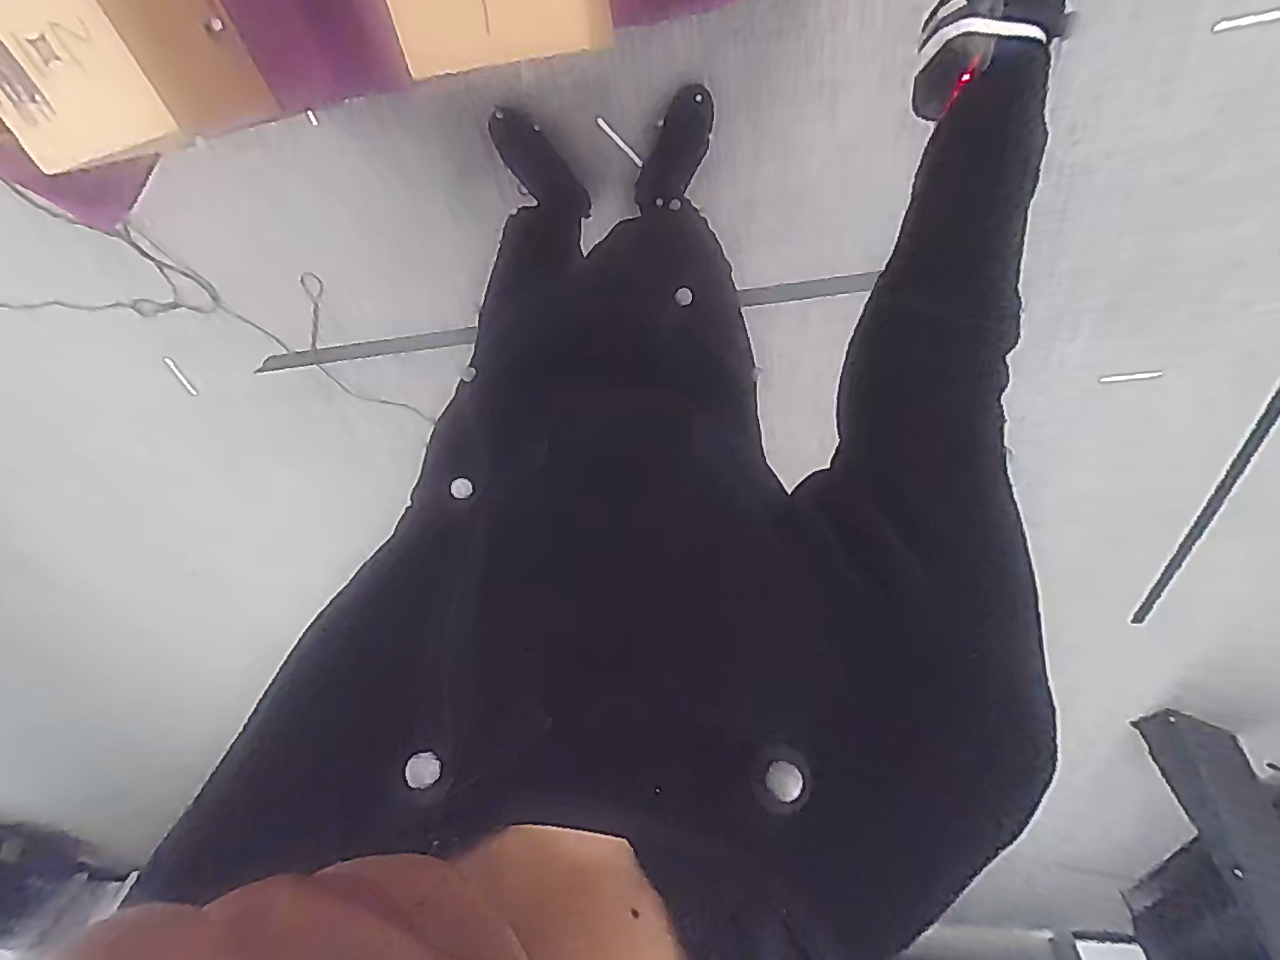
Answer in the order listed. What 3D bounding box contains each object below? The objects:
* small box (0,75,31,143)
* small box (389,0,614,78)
[{"bbox_3d":[-0.851,-0.437,0.579,0.179,0.176,0.168,-7,129,10],"label":"small box"},{"bbox_3d":[-0.123,-0.474,0.472,0.168,0.176,0.179,-2,130,9],"label":"small box"}]
